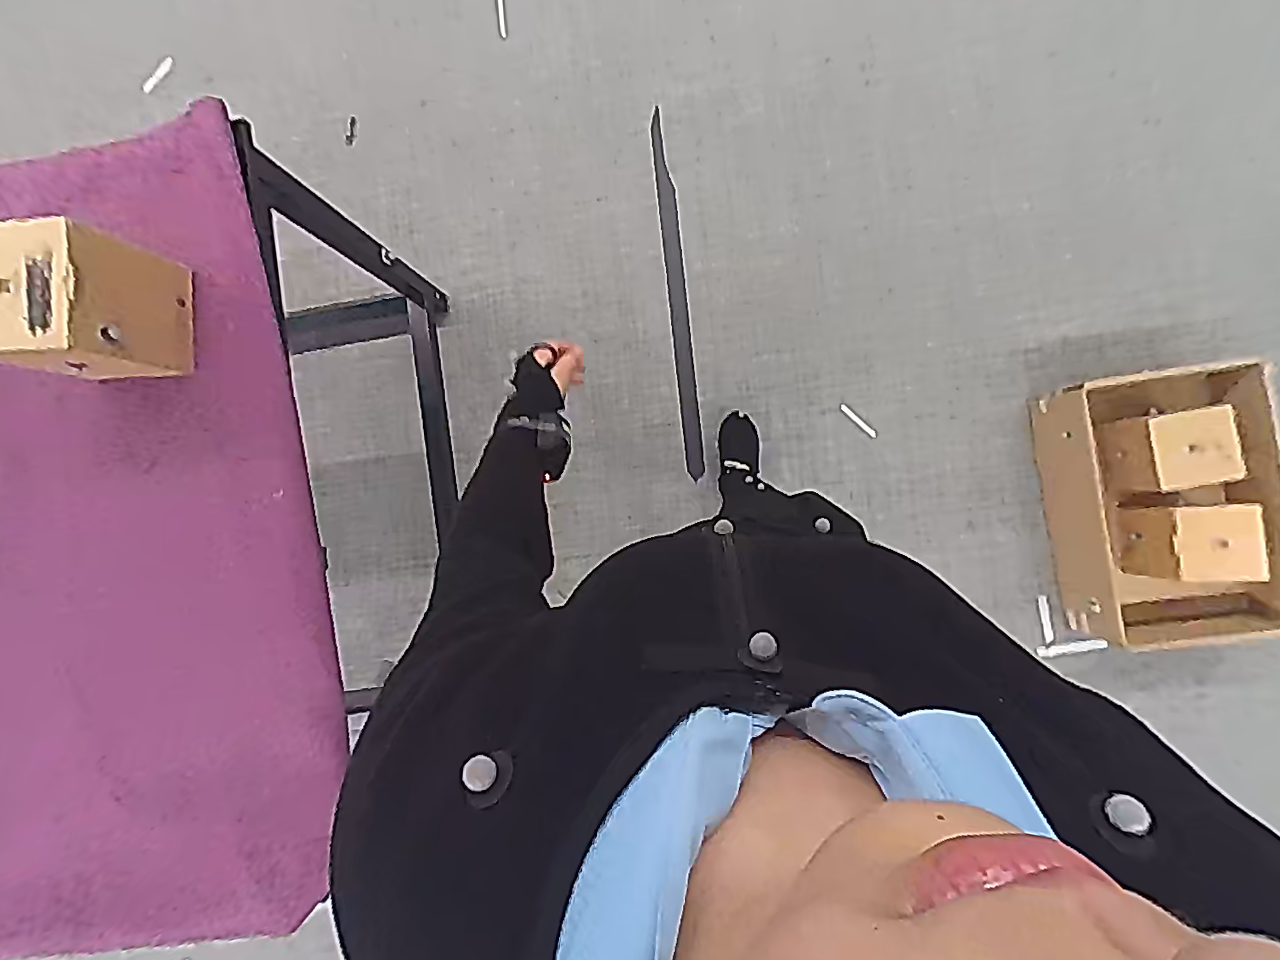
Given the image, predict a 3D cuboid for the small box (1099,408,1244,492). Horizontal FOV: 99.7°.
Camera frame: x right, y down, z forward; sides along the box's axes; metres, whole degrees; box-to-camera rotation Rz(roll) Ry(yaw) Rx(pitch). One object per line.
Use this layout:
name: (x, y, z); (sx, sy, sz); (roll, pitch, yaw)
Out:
small box: (1.227, -0.065, 1.268); (0.179, 0.176, 0.168); (-10, 89, 5)

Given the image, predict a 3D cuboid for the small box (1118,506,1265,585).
small box: (1.276, 0.147, 1.262); (0.179, 0.176, 0.168); (-3, 88, 5)
